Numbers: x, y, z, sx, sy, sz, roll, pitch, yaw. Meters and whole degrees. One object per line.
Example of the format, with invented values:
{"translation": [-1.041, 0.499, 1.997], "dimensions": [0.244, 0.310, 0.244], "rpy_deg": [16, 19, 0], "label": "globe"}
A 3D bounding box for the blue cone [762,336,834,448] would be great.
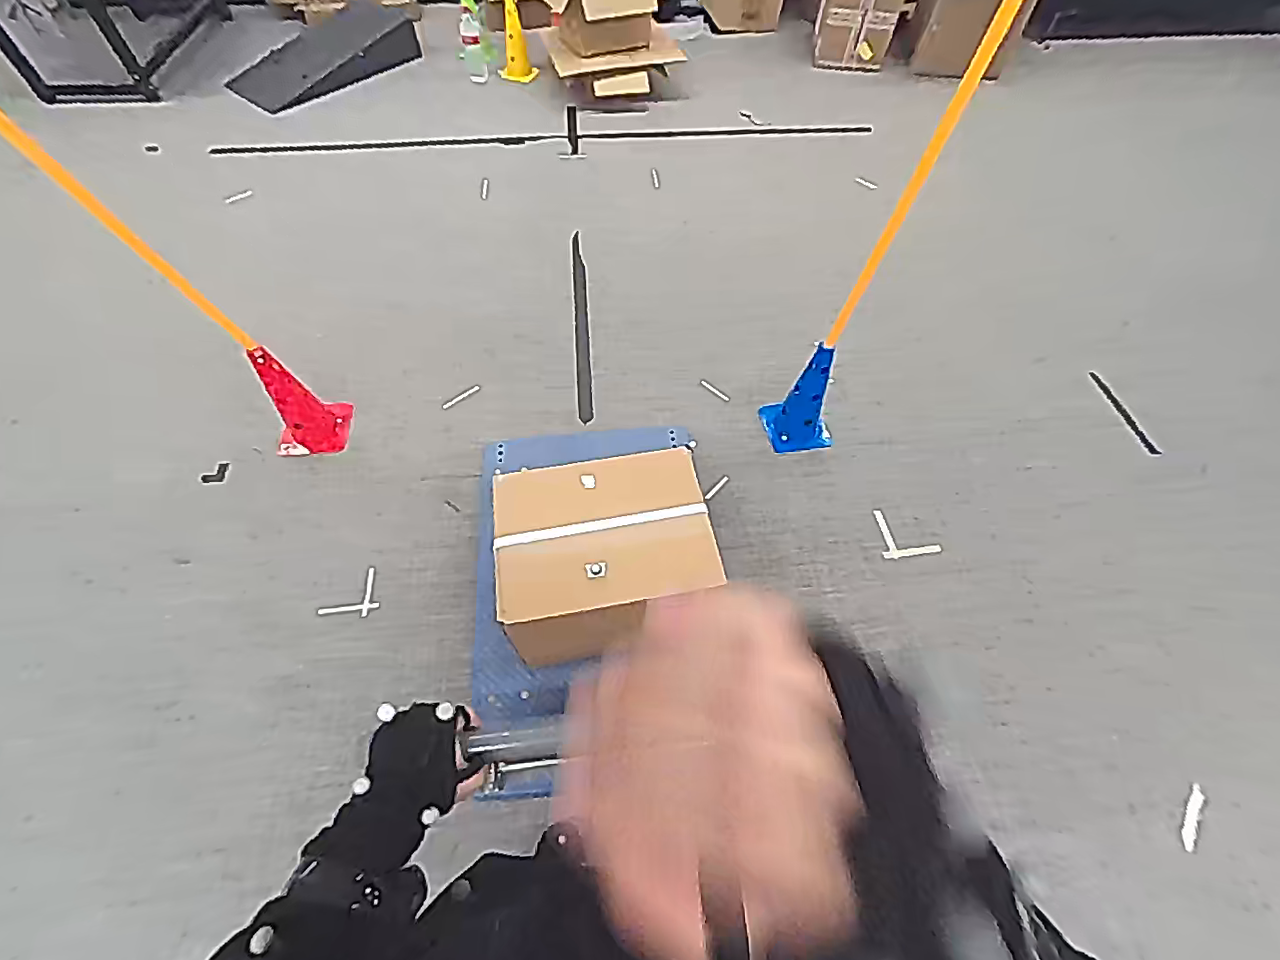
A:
{"translation": [0.518, -0.276, 1.646], "dimensions": [0.193, 0.380, 0.192], "rpy_deg": [-7, 57, -7], "label": "blue cone"}
